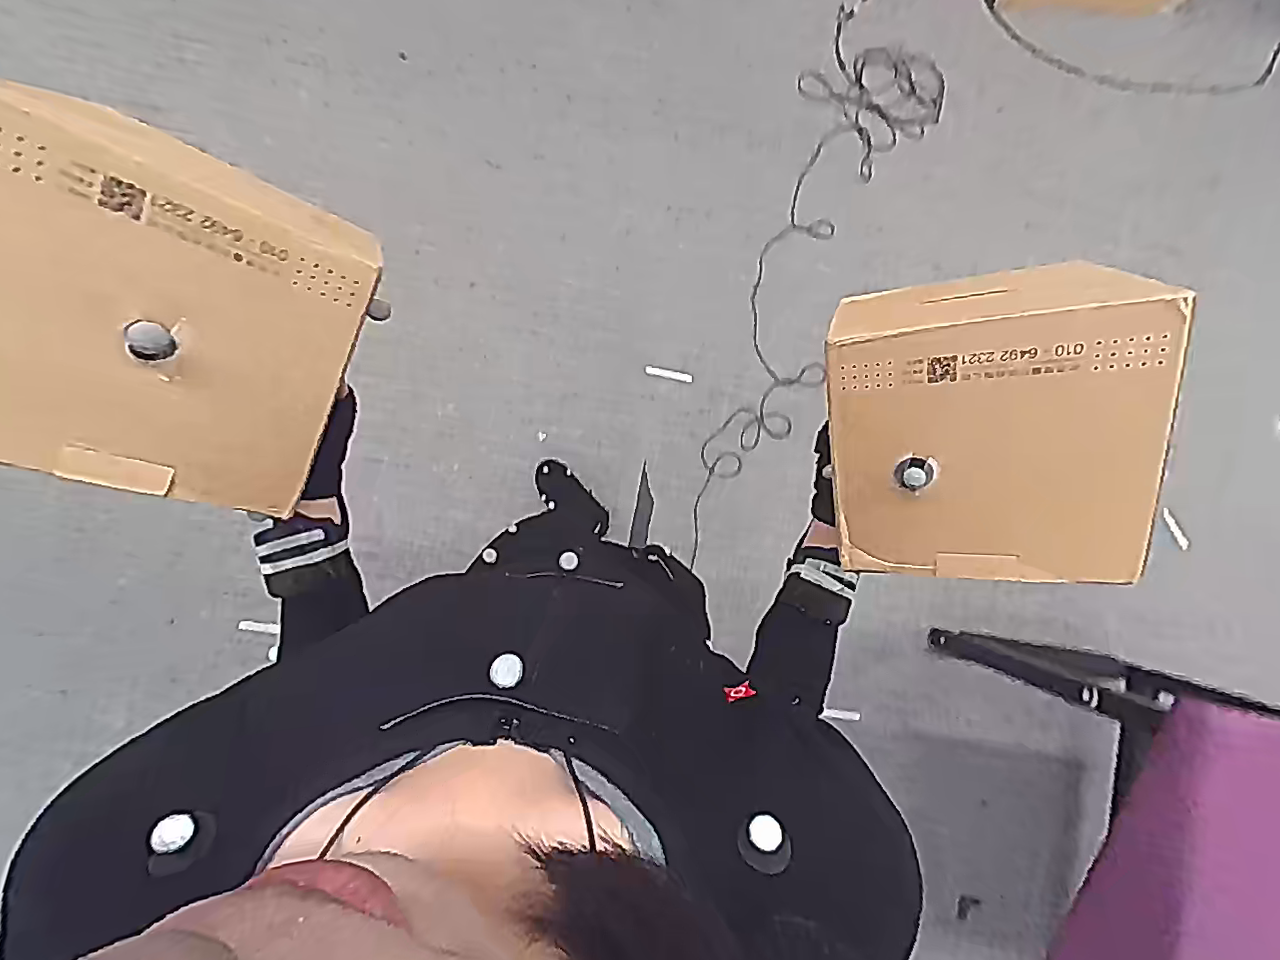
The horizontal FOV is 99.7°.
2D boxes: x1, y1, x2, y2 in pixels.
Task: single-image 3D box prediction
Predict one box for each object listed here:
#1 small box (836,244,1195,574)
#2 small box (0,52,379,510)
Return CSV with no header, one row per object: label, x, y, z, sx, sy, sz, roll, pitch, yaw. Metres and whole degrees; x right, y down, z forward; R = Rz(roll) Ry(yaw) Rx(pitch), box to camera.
small box,0.228,-0.056,0.371,0.168,0.179,0.176,-1,115,23
small box,-0.269,-0.110,0.321,0.168,0.179,0.176,20,105,-33
